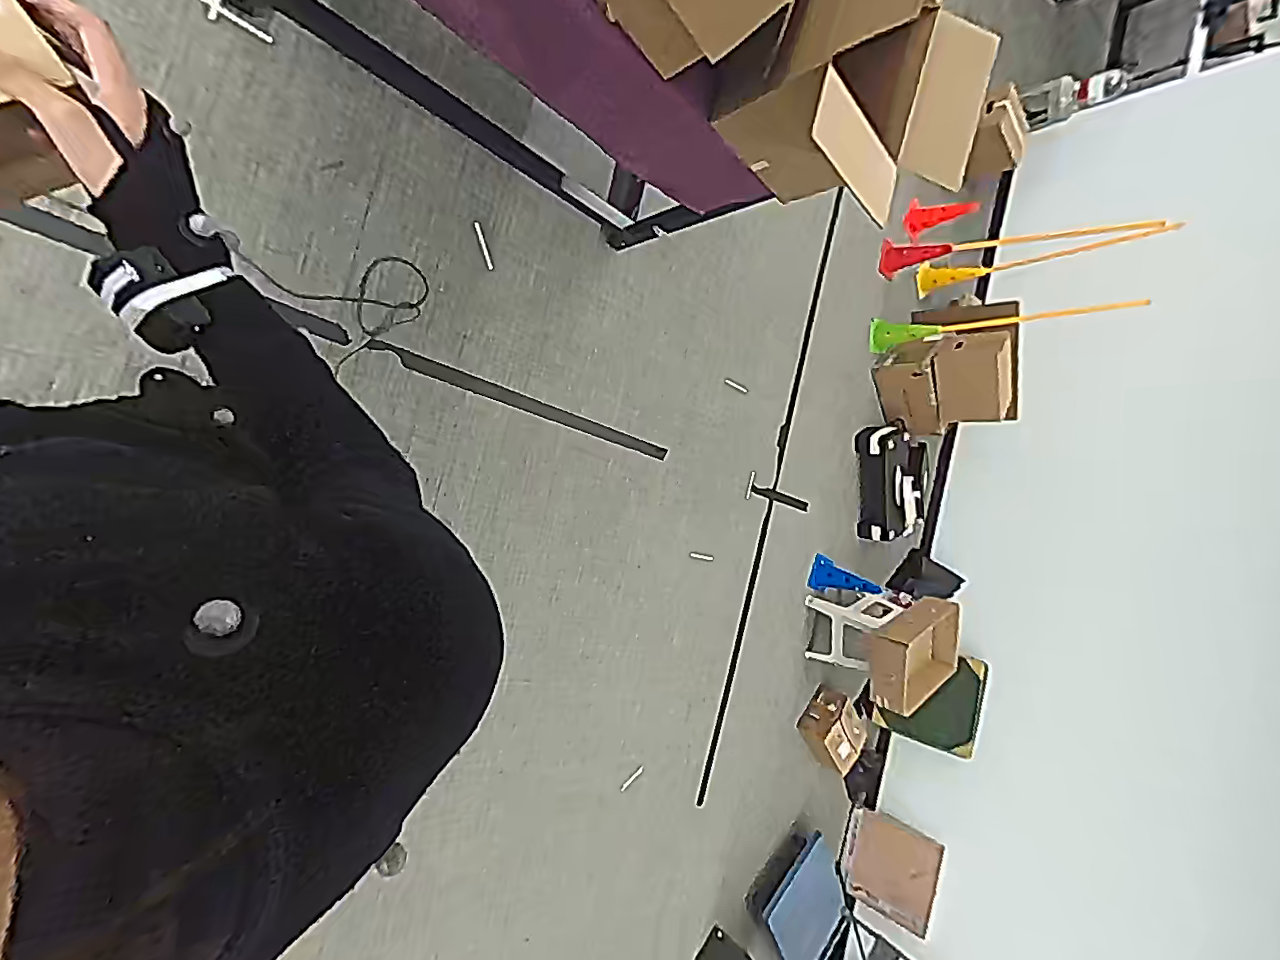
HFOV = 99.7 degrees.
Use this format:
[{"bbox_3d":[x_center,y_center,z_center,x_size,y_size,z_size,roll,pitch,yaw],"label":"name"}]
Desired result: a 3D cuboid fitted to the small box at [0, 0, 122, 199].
[{"bbox_3d":[-0.519,-0.297,0.366,0.179,0.176,0.168,-36,117,-22],"label":"small box"}]
